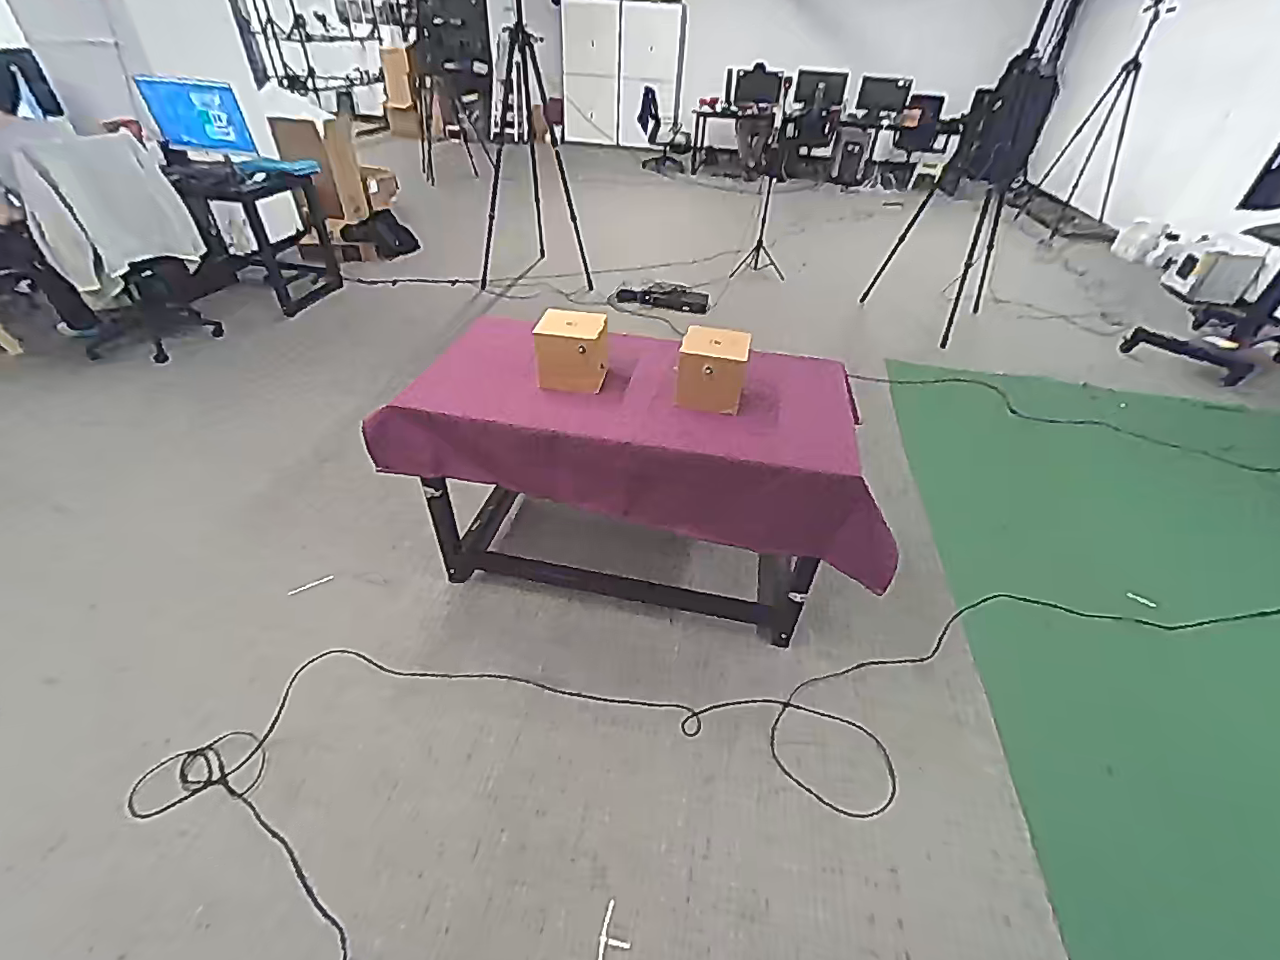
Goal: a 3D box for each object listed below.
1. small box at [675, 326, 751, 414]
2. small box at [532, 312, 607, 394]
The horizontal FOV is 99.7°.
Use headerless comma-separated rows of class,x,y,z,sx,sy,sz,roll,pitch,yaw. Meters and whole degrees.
small box,0.196,-0.299,1.473,0.179,0.176,0.168,11,41,9
small box,-0.192,-0.359,1.527,0.179,0.176,0.168,7,40,4
